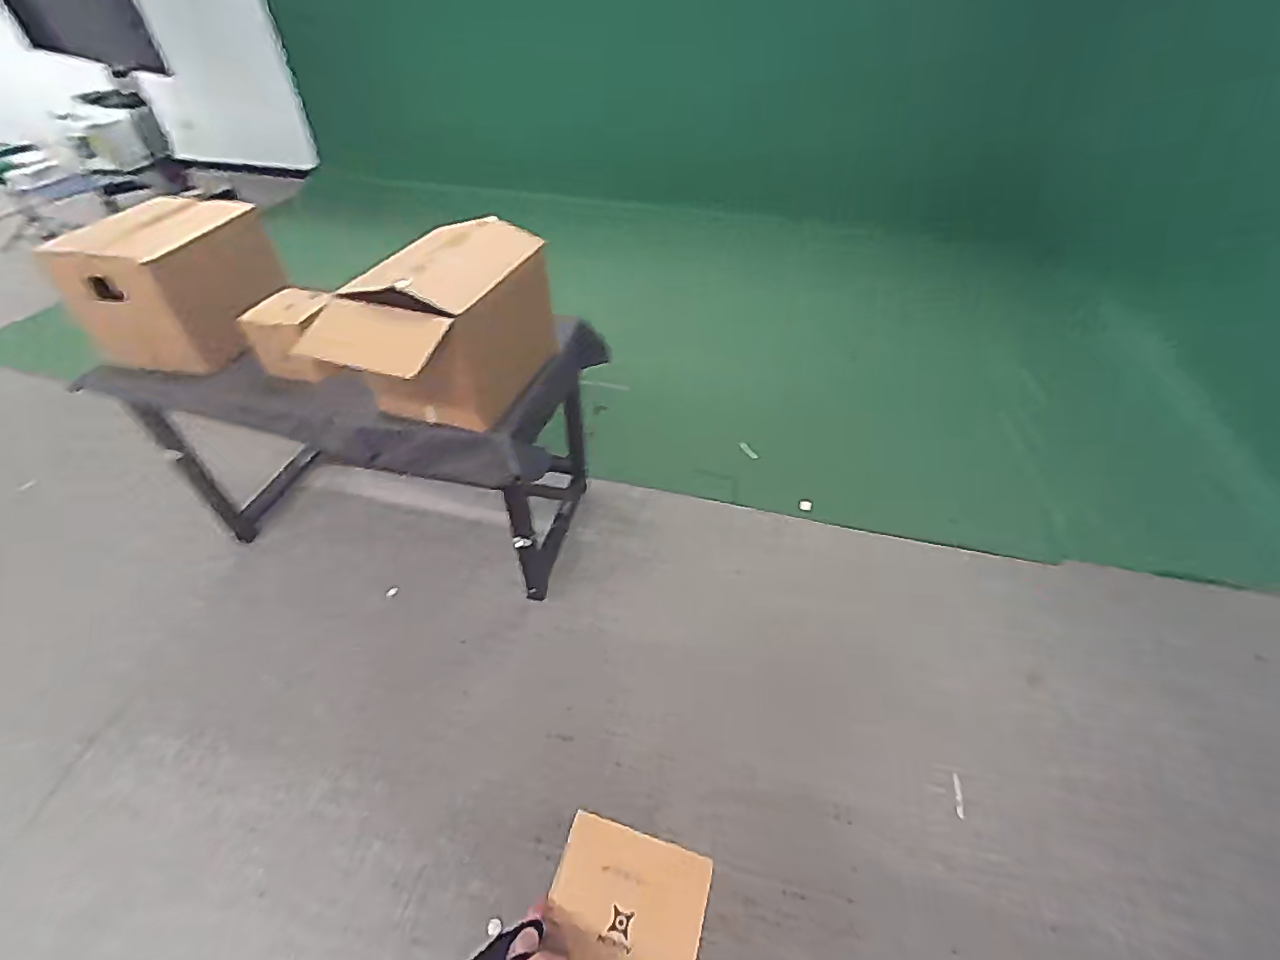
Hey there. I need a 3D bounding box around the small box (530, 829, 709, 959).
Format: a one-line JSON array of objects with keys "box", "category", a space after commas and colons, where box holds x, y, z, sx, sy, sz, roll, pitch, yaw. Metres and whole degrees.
[{"box": [-0.026, 0.527, 0.609, 0.168, 0.176, 0.179, 13, 51, 8], "category": "small box"}]
